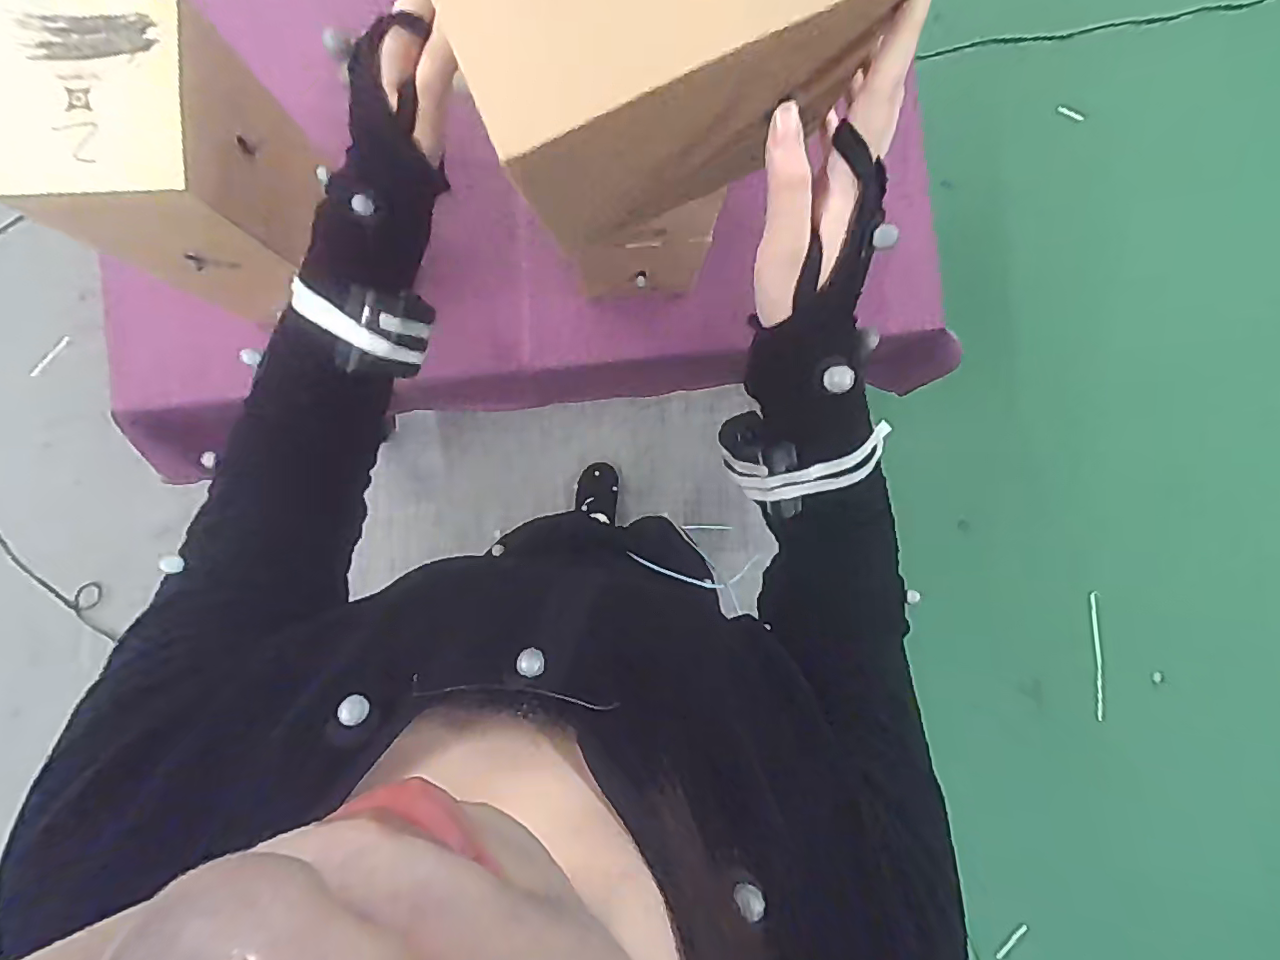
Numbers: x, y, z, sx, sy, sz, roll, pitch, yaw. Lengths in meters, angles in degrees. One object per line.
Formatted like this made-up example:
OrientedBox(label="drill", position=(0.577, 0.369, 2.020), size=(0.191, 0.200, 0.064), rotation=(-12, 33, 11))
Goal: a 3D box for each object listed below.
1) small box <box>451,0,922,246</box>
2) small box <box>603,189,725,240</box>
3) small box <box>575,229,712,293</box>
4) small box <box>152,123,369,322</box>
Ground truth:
OrientedBox(label="small box", position=(0.002, -0.244, 0.270), size=(0.179, 0.176, 0.168), rotation=(-22, 99, 5))
OrientedBox(label="small box", position=(0.001, -0.360, 0.547), size=(0.168, 0.176, 0.179), rotation=(-5, 89, -3))
OrientedBox(label="small box", position=(-0.003, -0.357, 0.713), size=(0.168, 0.176, 0.179), rotation=(-5, 90, -3))
OrientedBox(label="small box", position=(-0.467, -0.316, 0.691), size=(0.168, 0.176, 0.179), rotation=(-3, 90, -3))
